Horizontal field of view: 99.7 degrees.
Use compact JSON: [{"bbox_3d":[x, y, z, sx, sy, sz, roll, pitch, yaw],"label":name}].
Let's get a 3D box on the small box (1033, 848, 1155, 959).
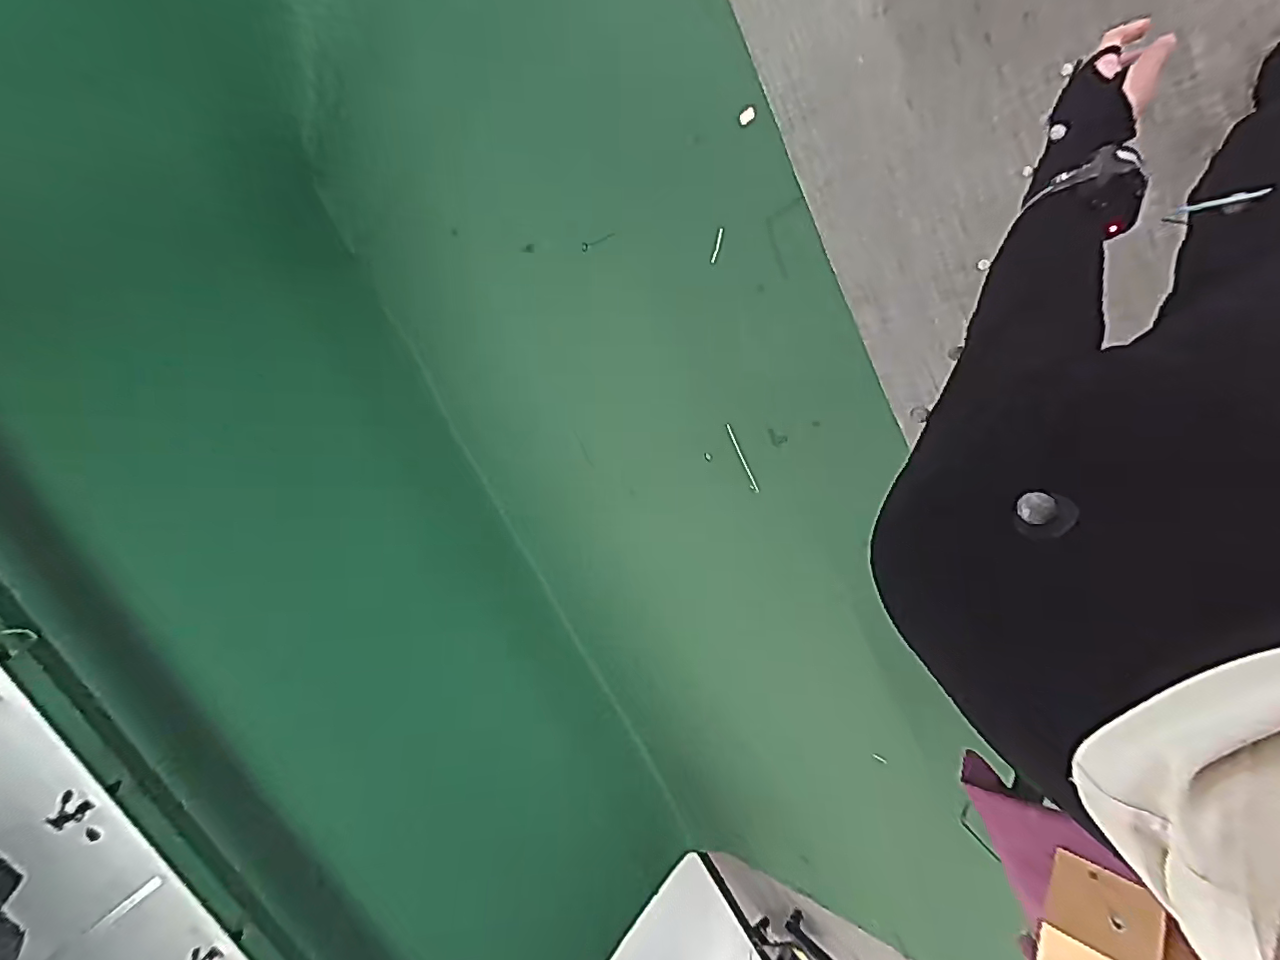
[{"bbox_3d":[0.900,0.888,1.075,0.168,0.176,0.179,10,128,42],"label":"small box"}]
